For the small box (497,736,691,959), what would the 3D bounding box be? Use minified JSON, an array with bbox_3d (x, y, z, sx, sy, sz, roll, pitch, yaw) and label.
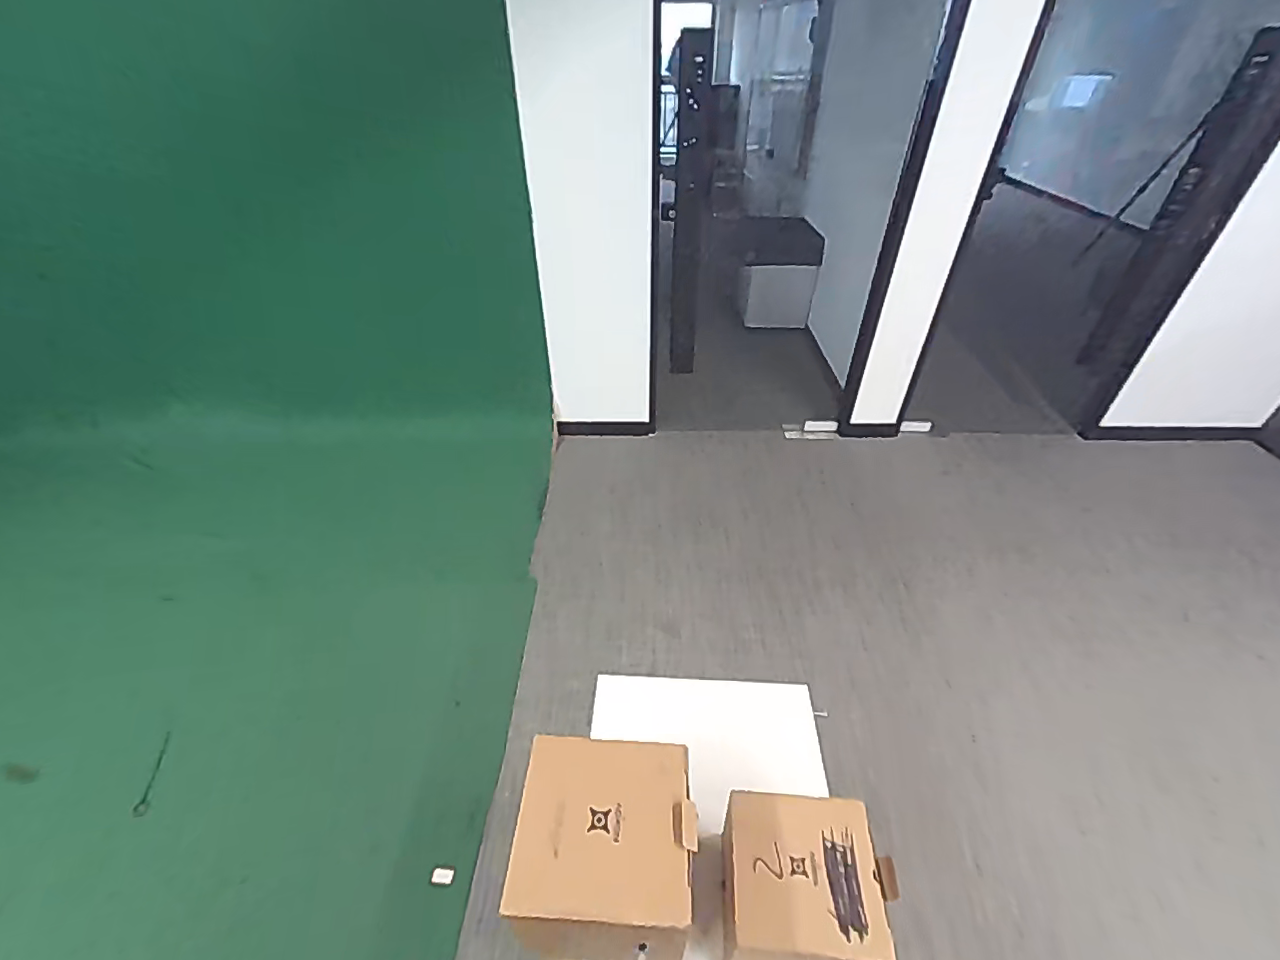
[{"bbox_3d":[-0.039,0.407,0.593,0.179,0.176,0.168,2,38,2],"label":"small box"}]
